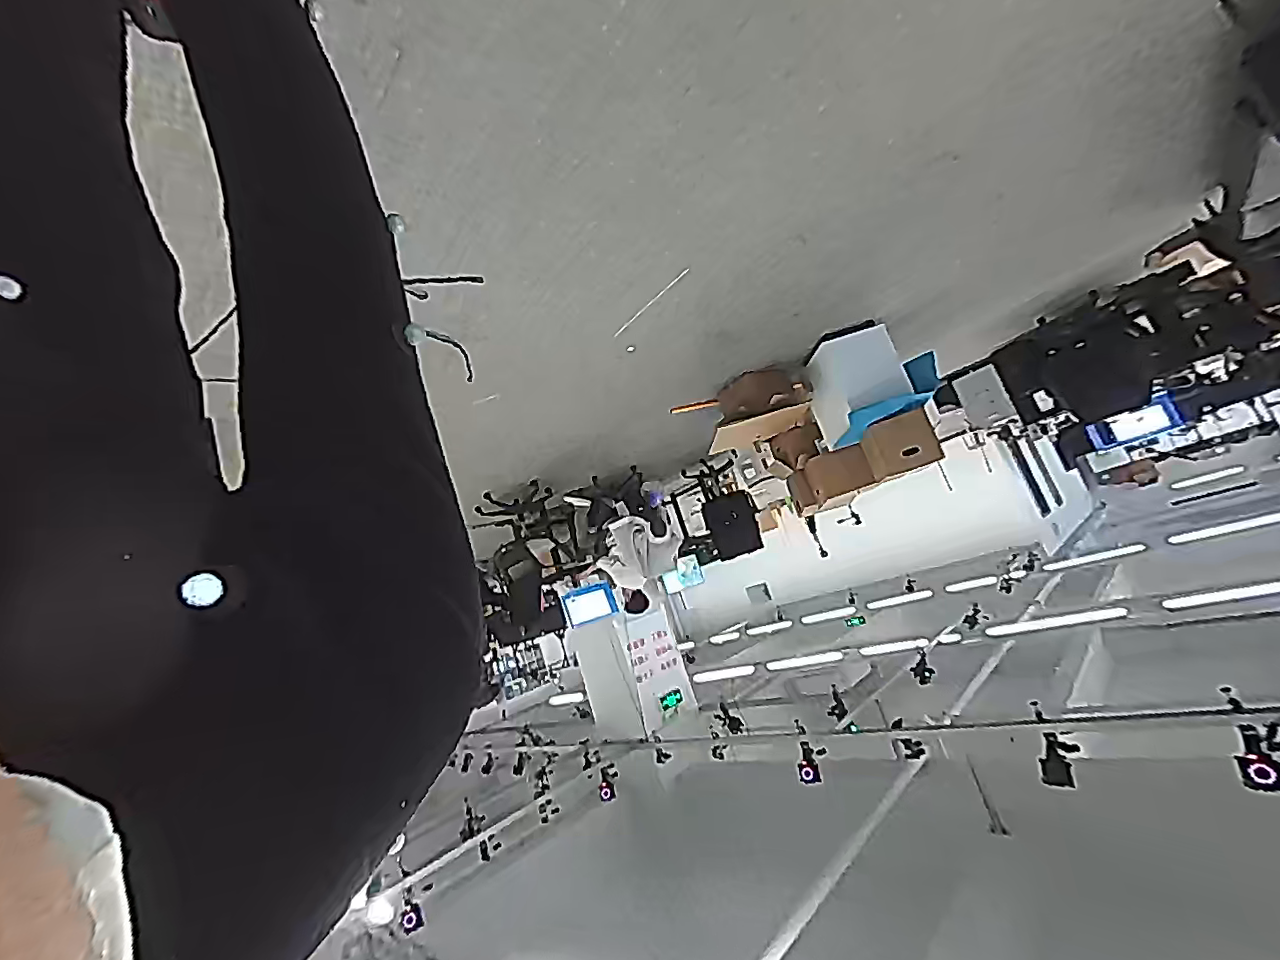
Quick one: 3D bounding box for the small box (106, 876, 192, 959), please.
[{"bbox_3d":[-1.412,1.280,1.554,0.168,0.176,0.179,-8,166,-45],"label":"small box"}]
